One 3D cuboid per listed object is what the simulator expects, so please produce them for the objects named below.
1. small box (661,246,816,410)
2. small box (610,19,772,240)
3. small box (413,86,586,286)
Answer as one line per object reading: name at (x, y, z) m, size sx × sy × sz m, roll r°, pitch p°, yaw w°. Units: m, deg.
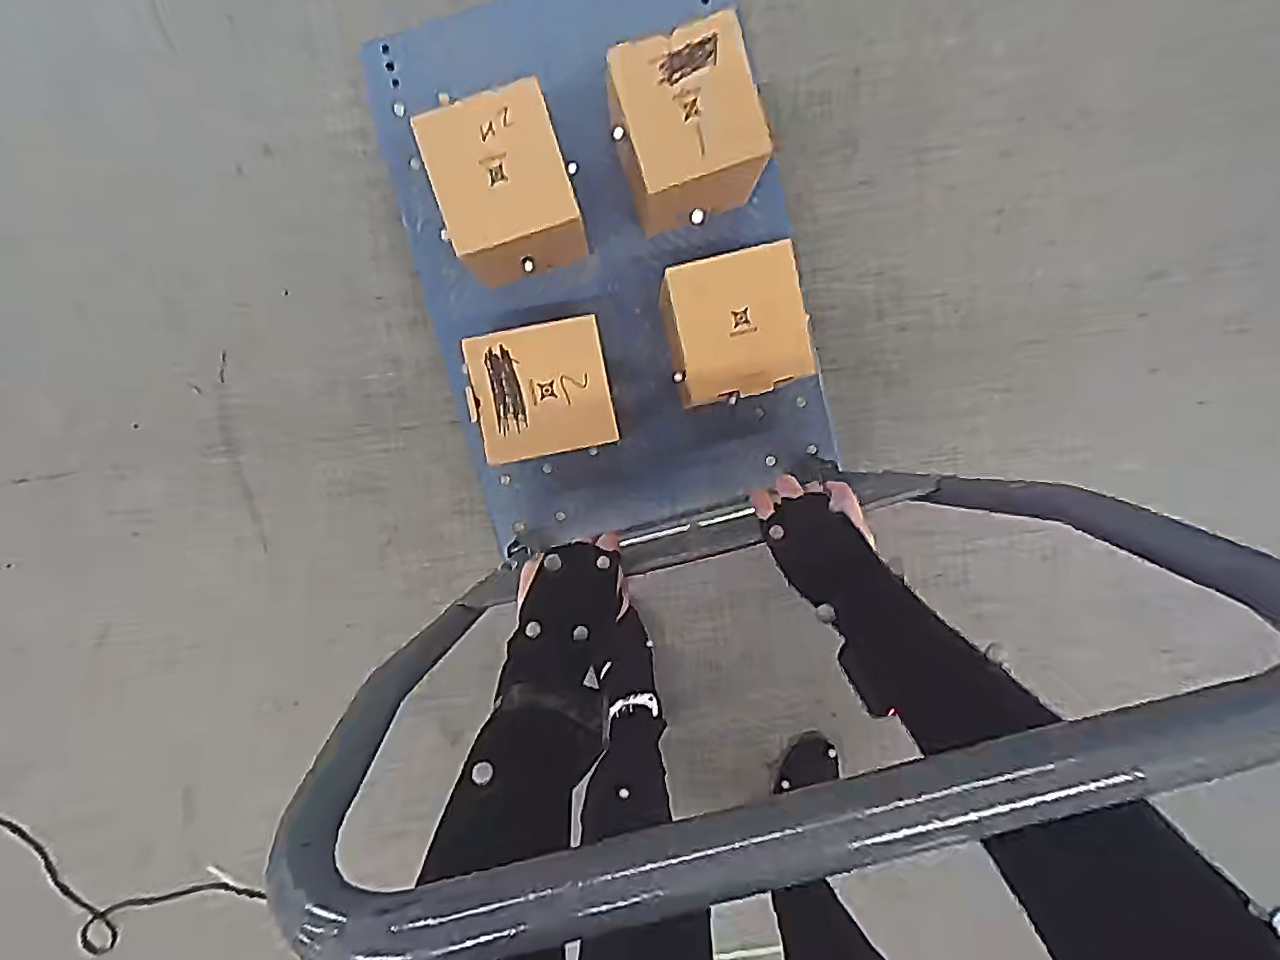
small box at (0.129, -0.203, 0.772) m, size 0.168 × 0.176 × 0.179 m, roll -13°, pitch 96°, yaw 0°
small box at (0.062, -0.464, 0.745) m, size 0.168 × 0.176 × 0.179 m, roll -18°, pitch 96°, yaw 1°
small box at (-0.179, -0.385, 0.749) m, size 0.168 × 0.176 × 0.179 m, roll -17°, pitch 95°, yaw 0°
